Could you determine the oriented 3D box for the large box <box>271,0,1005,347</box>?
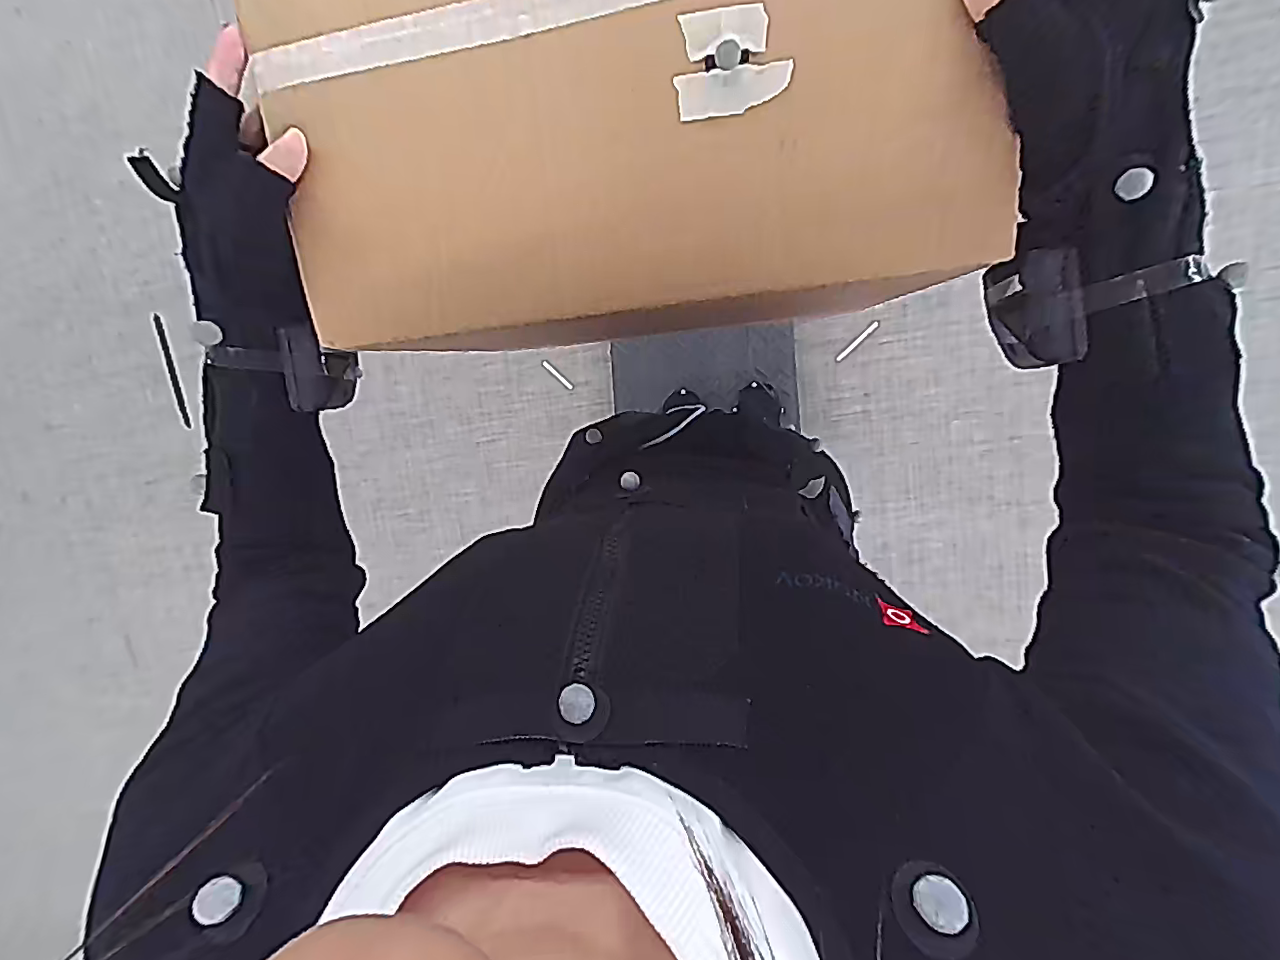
[{"bbox_3d":[0.002,-0.291,0.436,0.408,0.320,0.320,-5,103,9],"label":"large box"}]
